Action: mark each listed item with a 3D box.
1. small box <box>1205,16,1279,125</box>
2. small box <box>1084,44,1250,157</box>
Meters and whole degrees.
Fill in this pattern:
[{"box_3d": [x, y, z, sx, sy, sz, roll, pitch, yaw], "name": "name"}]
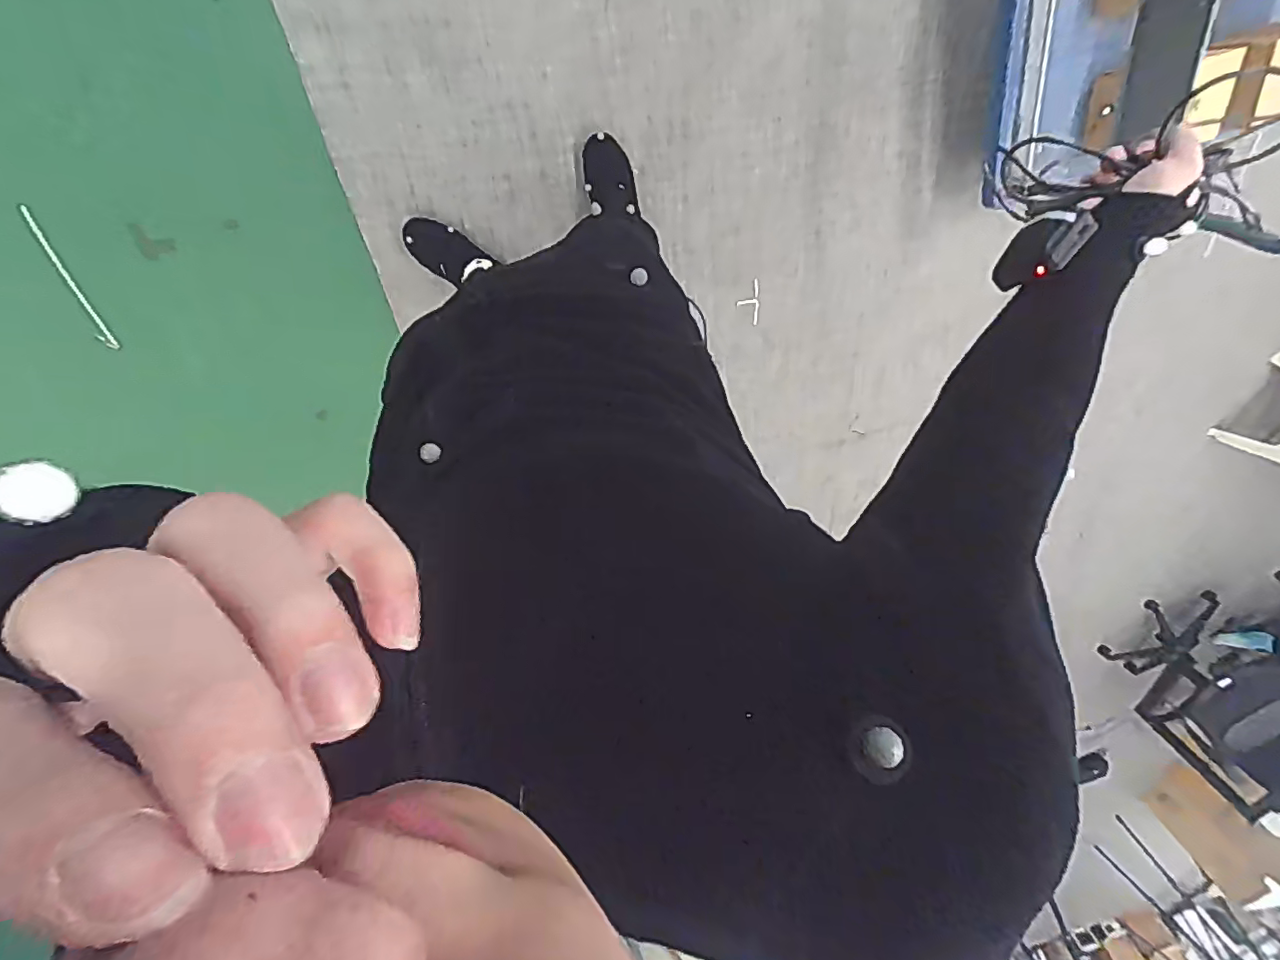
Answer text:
[{"box_3d": [1.384, -0.909, 1.195, 0.179, 0.176, 0.168, -19, 125, 3], "name": "small box"}, {"box_3d": [1.150, -0.838, 1.197, 0.179, 0.176, 0.168, -16, 126, 1], "name": "small box"}]
